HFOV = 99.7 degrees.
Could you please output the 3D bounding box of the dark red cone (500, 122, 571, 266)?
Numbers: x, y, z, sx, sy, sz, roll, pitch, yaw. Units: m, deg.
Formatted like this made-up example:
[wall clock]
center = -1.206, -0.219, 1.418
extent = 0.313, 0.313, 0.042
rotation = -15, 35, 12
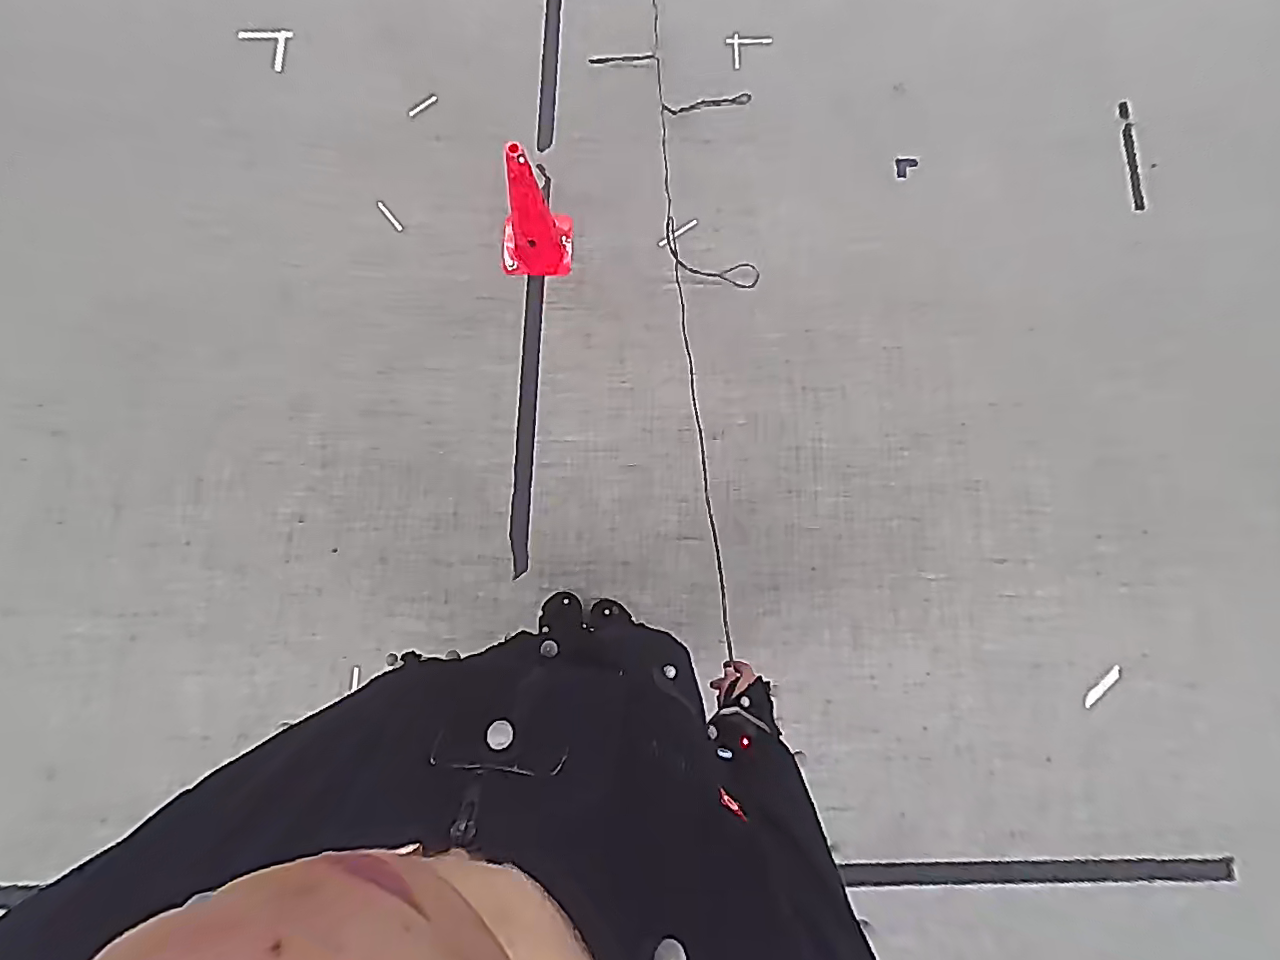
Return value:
[dark red cone]
center = -0.293, -0.742, 1.399
extent = 0.201, 0.394, 0.202
rotation = 0, 78, -3
